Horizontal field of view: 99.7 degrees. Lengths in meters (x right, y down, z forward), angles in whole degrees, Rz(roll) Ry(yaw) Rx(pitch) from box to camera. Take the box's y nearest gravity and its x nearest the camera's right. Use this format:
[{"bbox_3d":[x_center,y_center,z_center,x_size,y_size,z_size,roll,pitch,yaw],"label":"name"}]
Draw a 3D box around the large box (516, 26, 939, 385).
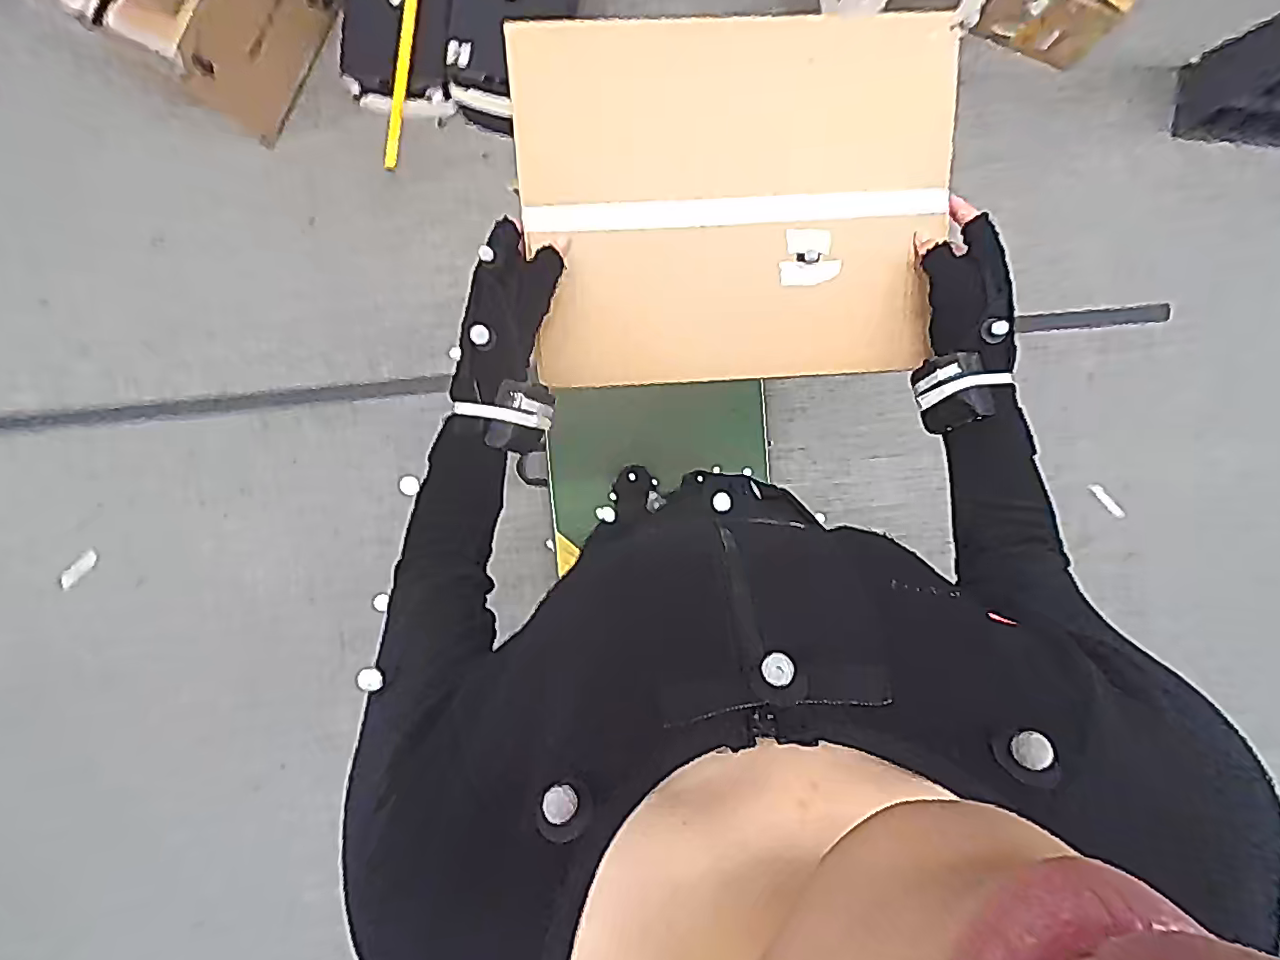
[{"bbox_3d":[0.083,-0.292,0.674,0.408,0.320,0.320,-4,103,-3],"label":"large box"}]
